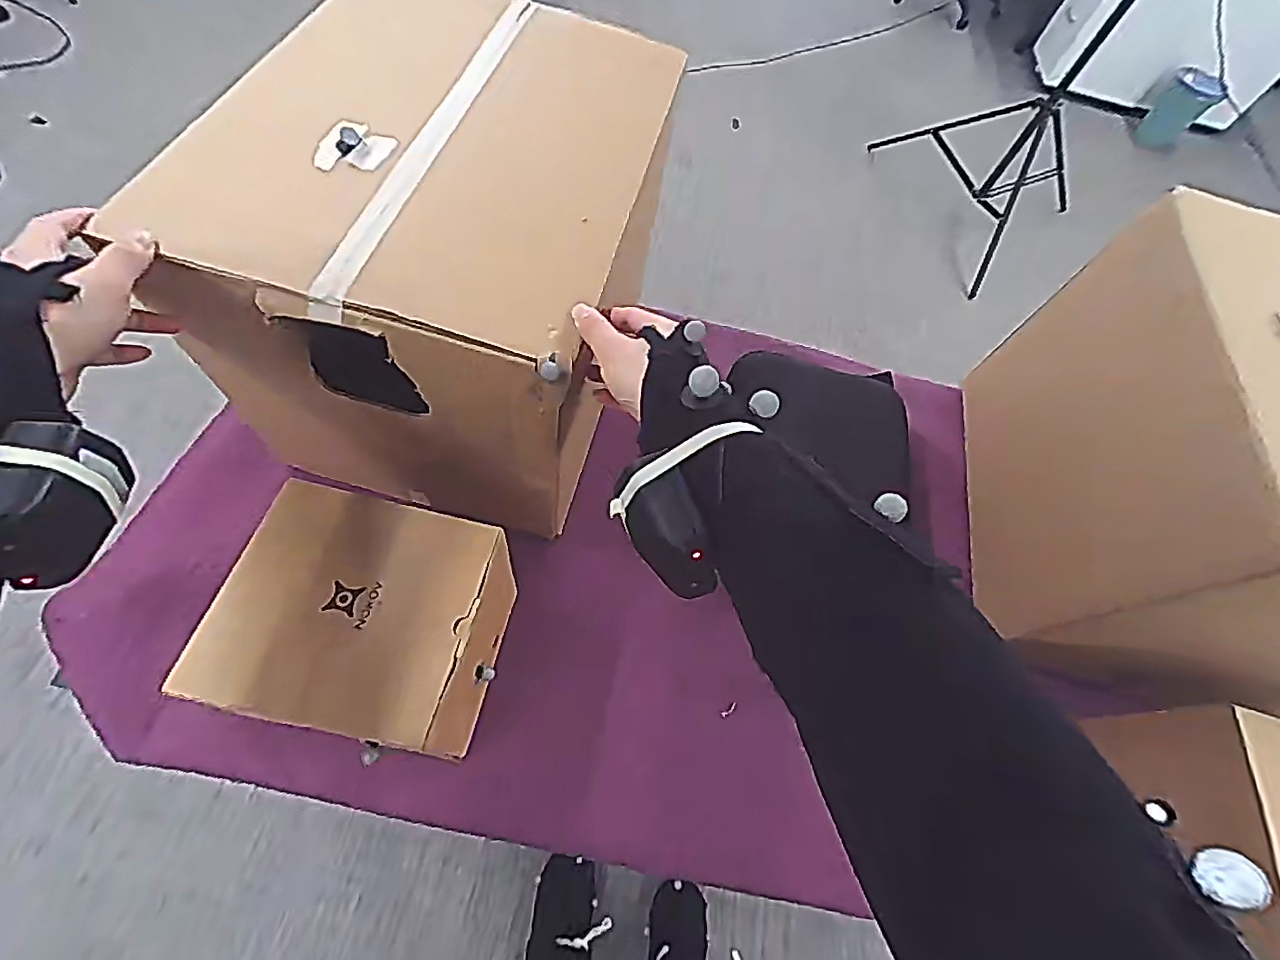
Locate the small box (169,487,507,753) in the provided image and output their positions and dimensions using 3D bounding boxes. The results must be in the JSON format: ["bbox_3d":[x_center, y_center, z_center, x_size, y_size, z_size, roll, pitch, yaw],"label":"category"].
[{"bbox_3d":[-0.226,0.131,0.468,0.179,0.176,0.168,13,60,-2],"label":"small box"}]

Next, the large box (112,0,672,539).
[{"bbox_3d":[-0.176,-0.201,0.570,0.320,0.320,0.408,15,64,-2],"label":"large box"}]
